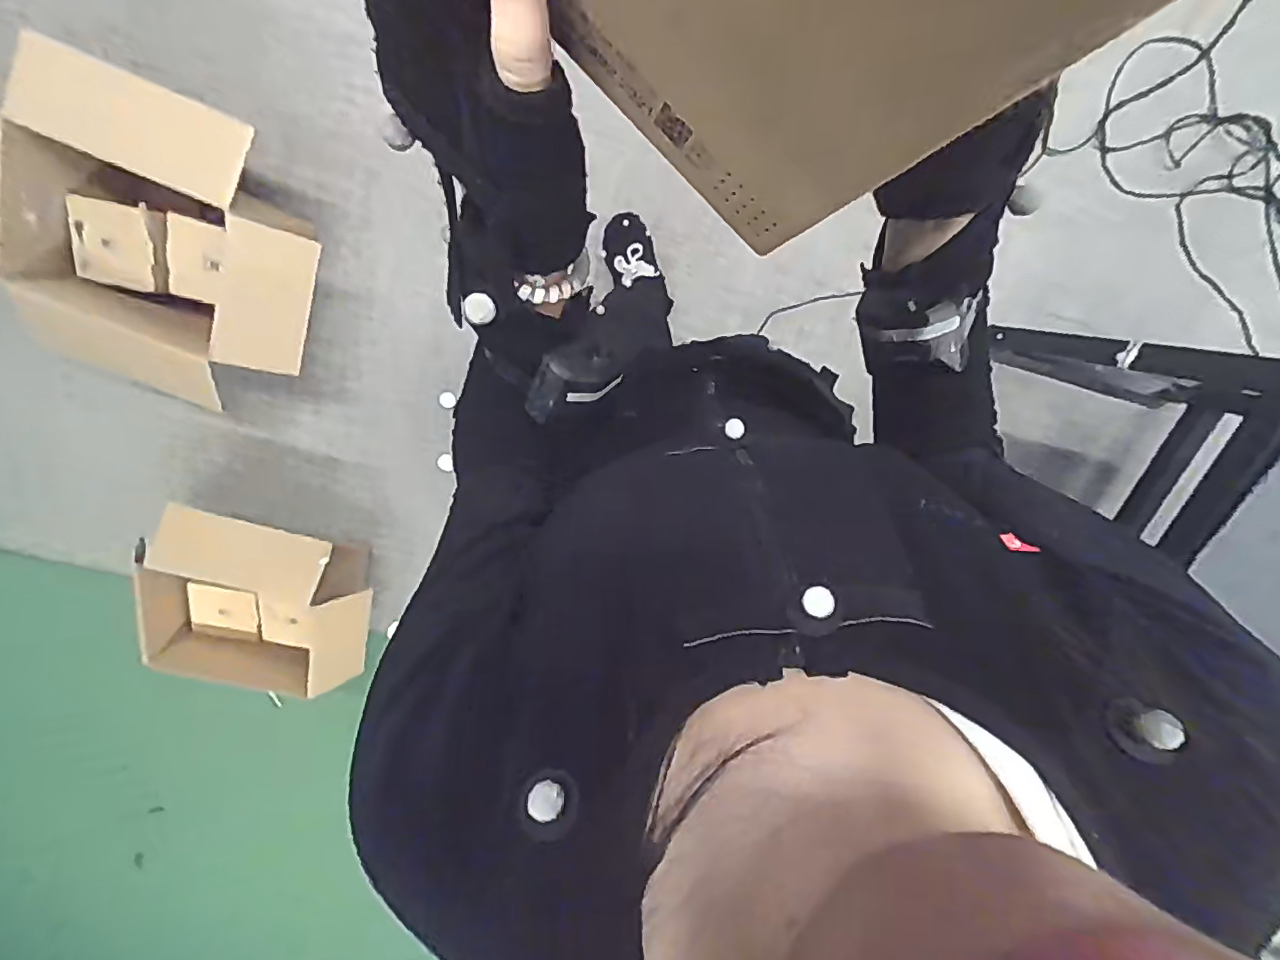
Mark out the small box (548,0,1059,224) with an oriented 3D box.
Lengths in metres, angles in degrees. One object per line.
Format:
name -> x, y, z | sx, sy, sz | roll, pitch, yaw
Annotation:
small box -> 0.064, -0.212, 0.151 | 0.168, 0.176, 0.179 | 40, 85, -15
